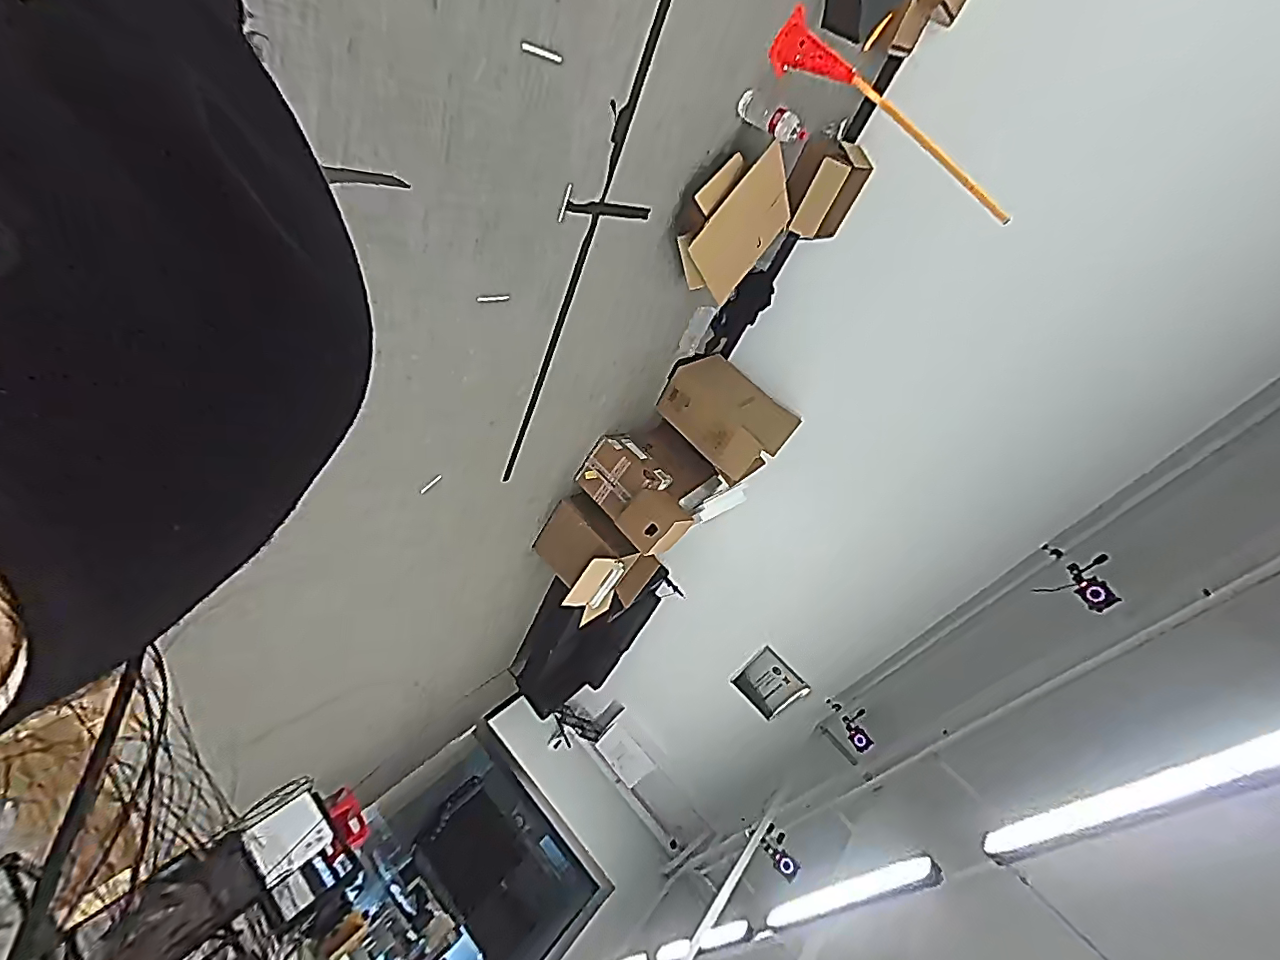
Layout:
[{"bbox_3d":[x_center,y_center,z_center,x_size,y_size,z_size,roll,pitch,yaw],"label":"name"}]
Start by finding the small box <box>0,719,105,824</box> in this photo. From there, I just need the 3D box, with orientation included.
[{"bbox_3d":[-1.695,0.826,1.546,0.179,0.176,0.168,-26,152,-46],"label":"small box"}]

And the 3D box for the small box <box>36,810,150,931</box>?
[{"bbox_3d":[-1.465,1.041,1.450,0.179,0.176,0.168,-25,152,-50],"label":"small box"}]
